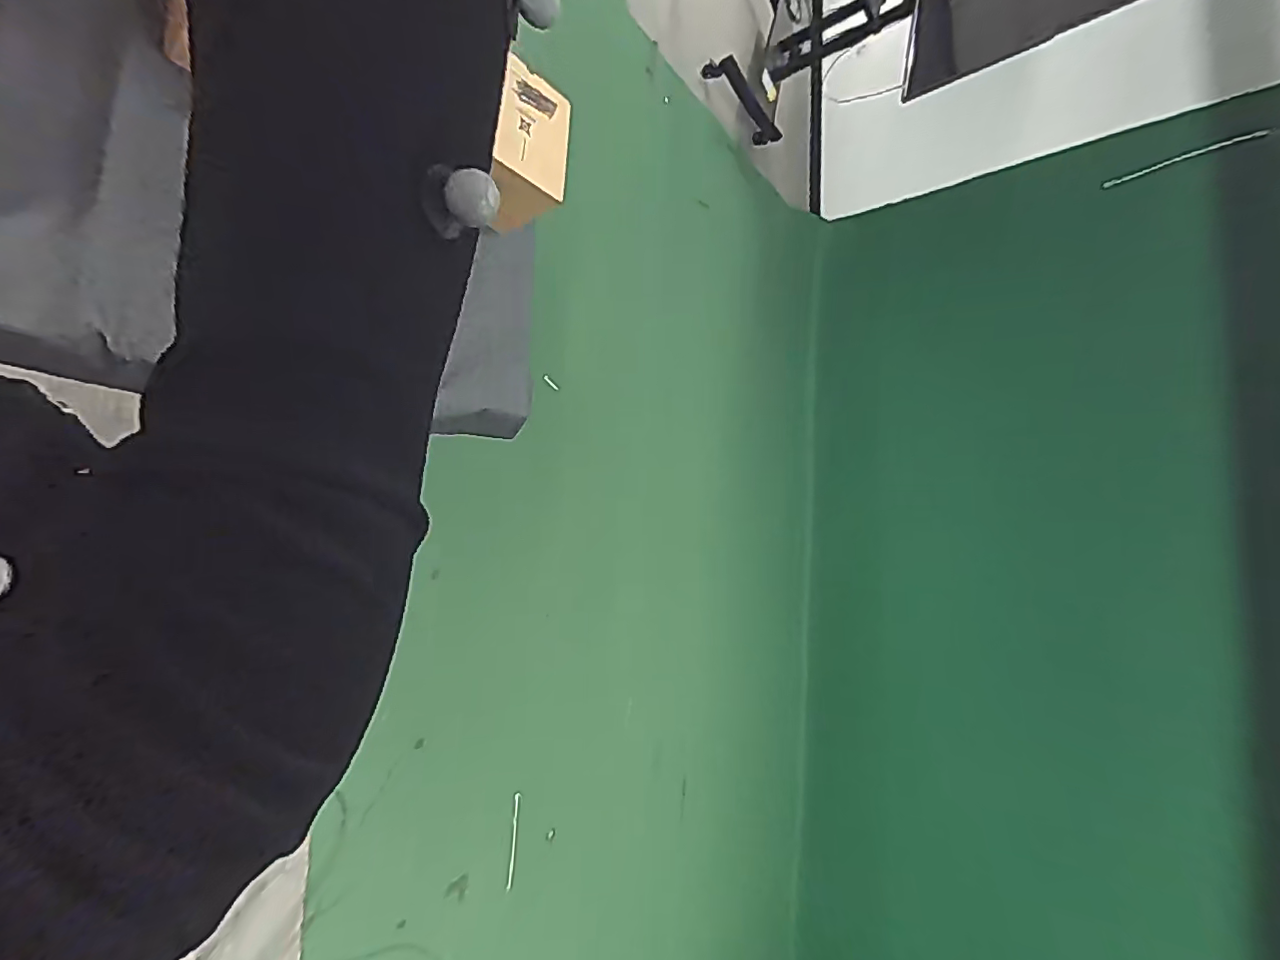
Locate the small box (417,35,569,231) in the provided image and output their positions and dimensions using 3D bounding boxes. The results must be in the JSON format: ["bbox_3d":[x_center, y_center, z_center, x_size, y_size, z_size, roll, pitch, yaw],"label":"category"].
[{"bbox_3d":[-0.236,-0.536,0.867,0.168,0.176,0.179,10,82,-50],"label":"small box"}]
